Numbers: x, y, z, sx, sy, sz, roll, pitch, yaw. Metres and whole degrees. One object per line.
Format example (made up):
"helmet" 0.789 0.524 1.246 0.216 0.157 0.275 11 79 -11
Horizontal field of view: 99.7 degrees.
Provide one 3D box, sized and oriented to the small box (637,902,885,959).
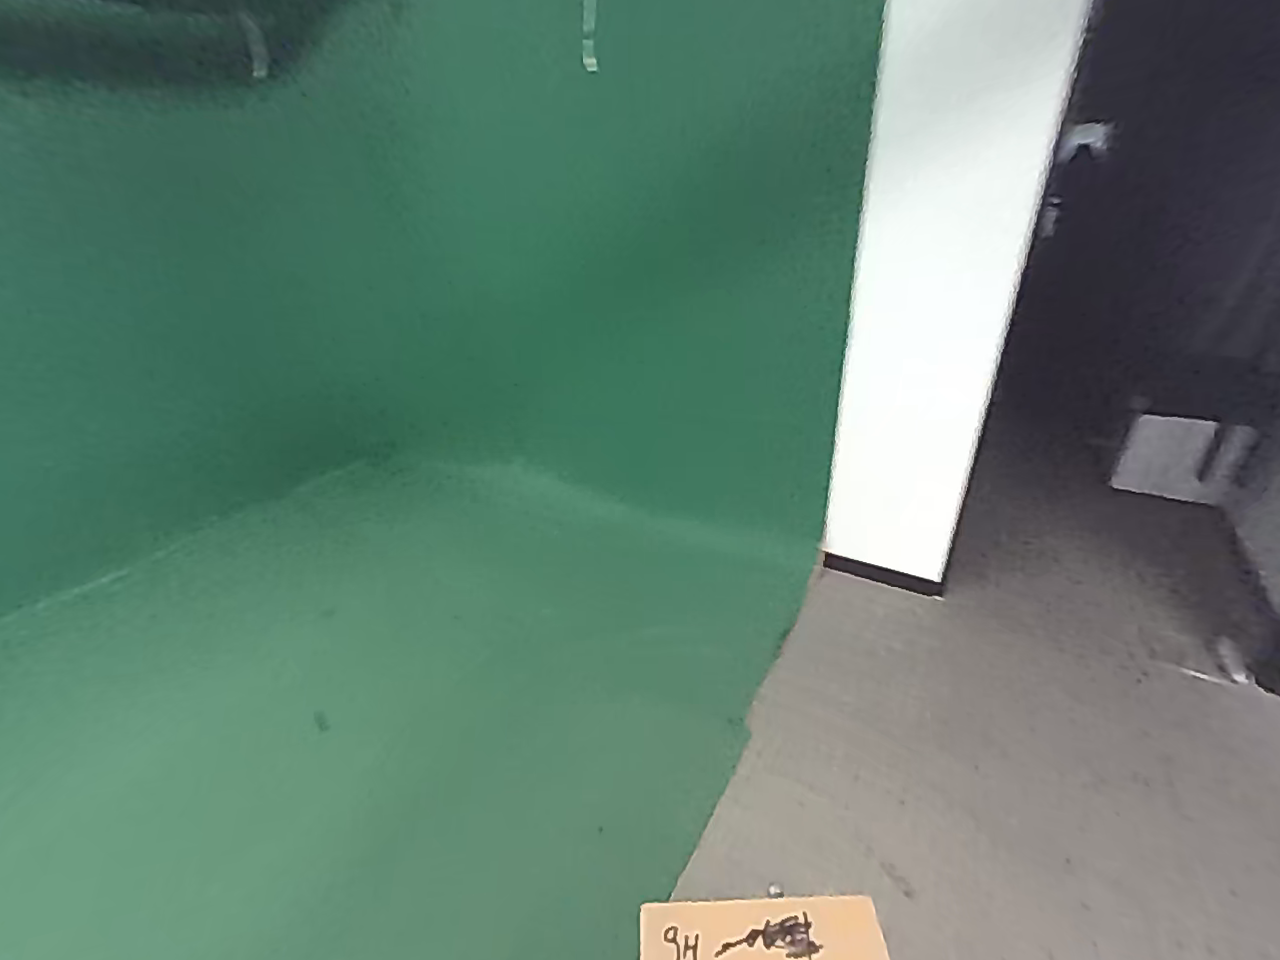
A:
"small box" 0.087 0.417 0.368 0.168 0.176 0.179 -4 40 2
